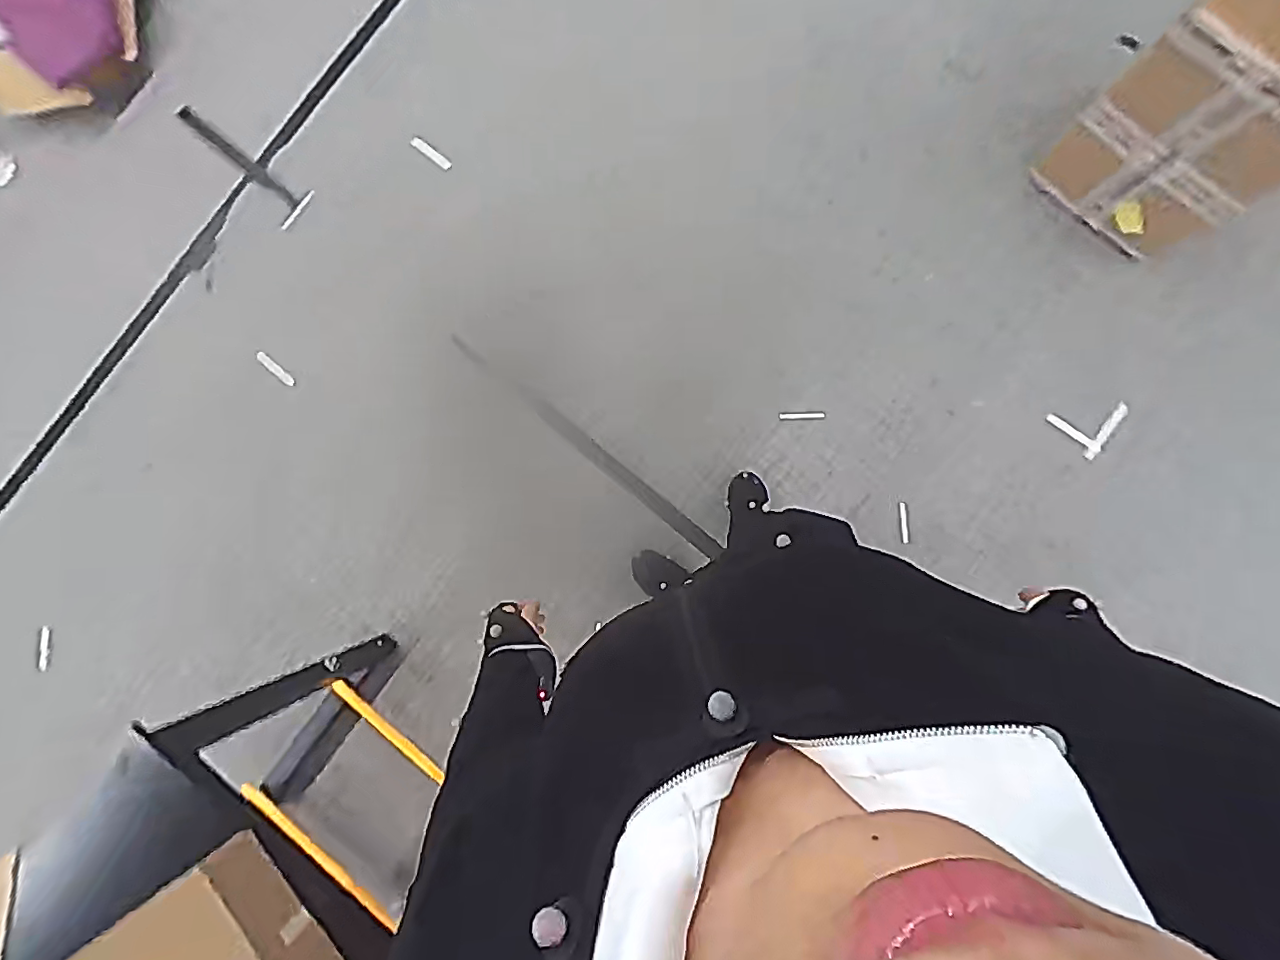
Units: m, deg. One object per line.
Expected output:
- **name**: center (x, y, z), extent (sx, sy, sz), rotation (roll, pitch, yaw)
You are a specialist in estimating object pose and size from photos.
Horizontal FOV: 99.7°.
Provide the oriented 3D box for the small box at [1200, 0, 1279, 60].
- **small box**: center (1.178, -0.896, 0.948), extent (0.168, 0.176, 0.179), rotation (-44, 84, 2)
